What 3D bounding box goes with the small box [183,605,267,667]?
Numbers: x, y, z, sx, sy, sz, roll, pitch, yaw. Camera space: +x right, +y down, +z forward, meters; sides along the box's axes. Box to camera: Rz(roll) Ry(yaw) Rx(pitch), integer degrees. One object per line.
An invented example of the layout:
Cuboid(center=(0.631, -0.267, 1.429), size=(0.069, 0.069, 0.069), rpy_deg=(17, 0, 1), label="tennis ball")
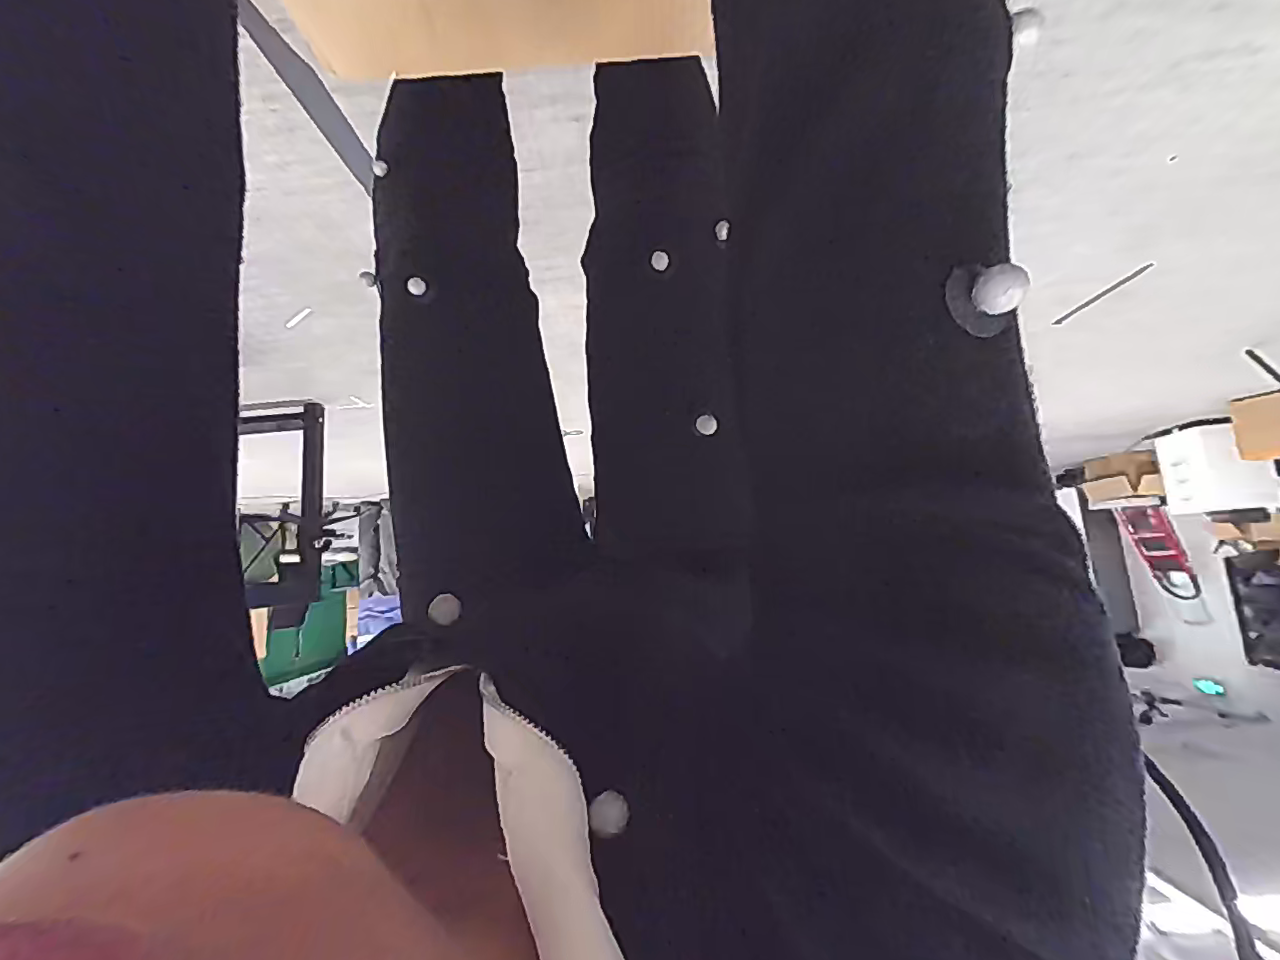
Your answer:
Cuboid(center=(-1.325, 0.492, 1.723), size=(0.168, 0.176, 0.179), rpy_deg=(-5, 171, 3), label="small box")
